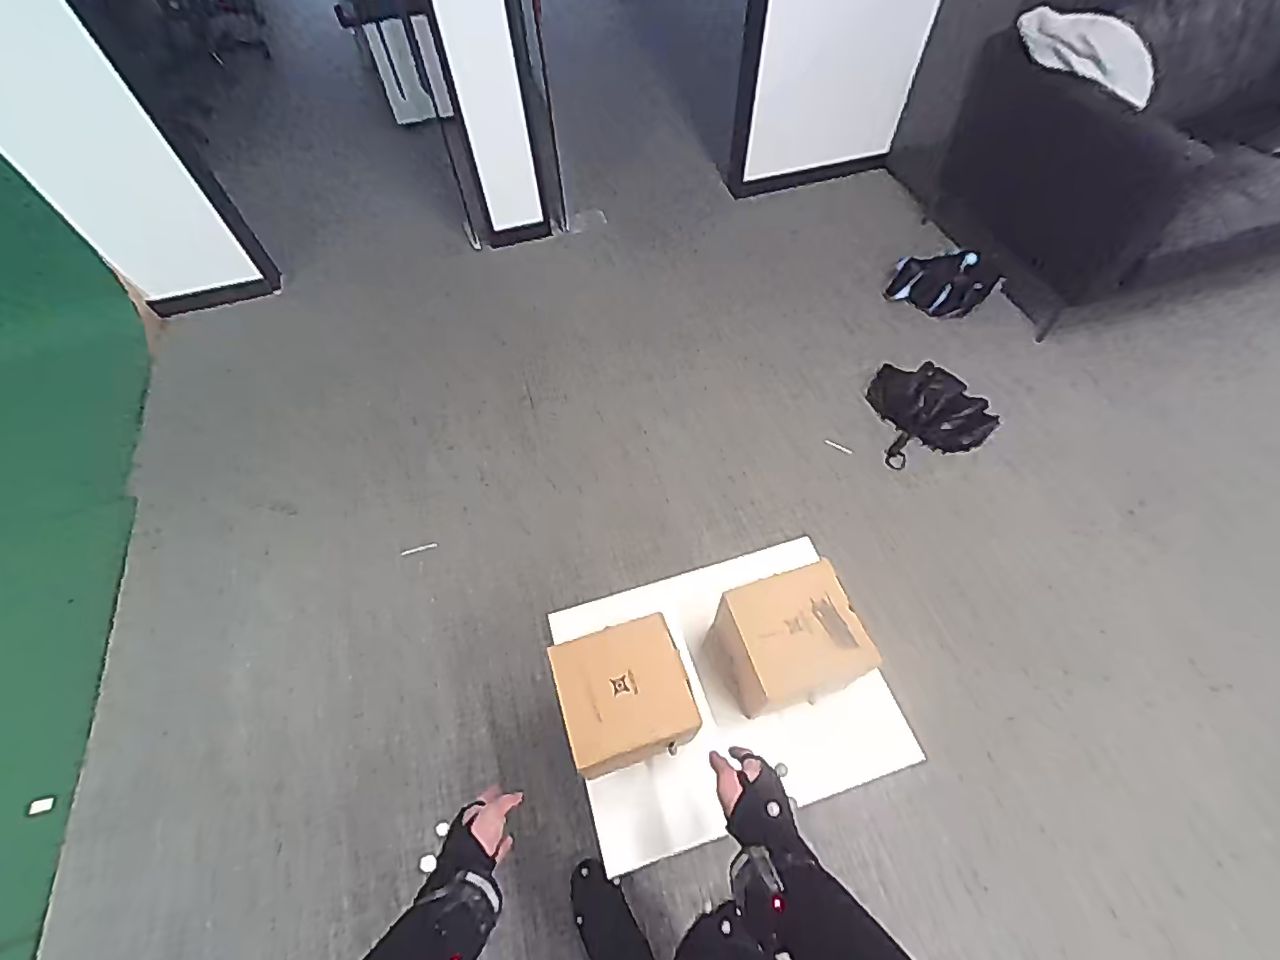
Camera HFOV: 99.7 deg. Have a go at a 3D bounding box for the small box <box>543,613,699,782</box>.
[{"bbox_3d":[-0.032,0.320,0.789,0.179,0.176,0.168,-16,58,-11],"label":"small box"}]

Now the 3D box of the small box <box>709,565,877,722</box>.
[{"bbox_3d":[0.222,0.256,0.835,0.179,0.176,0.168,-14,58,-9],"label":"small box"}]
